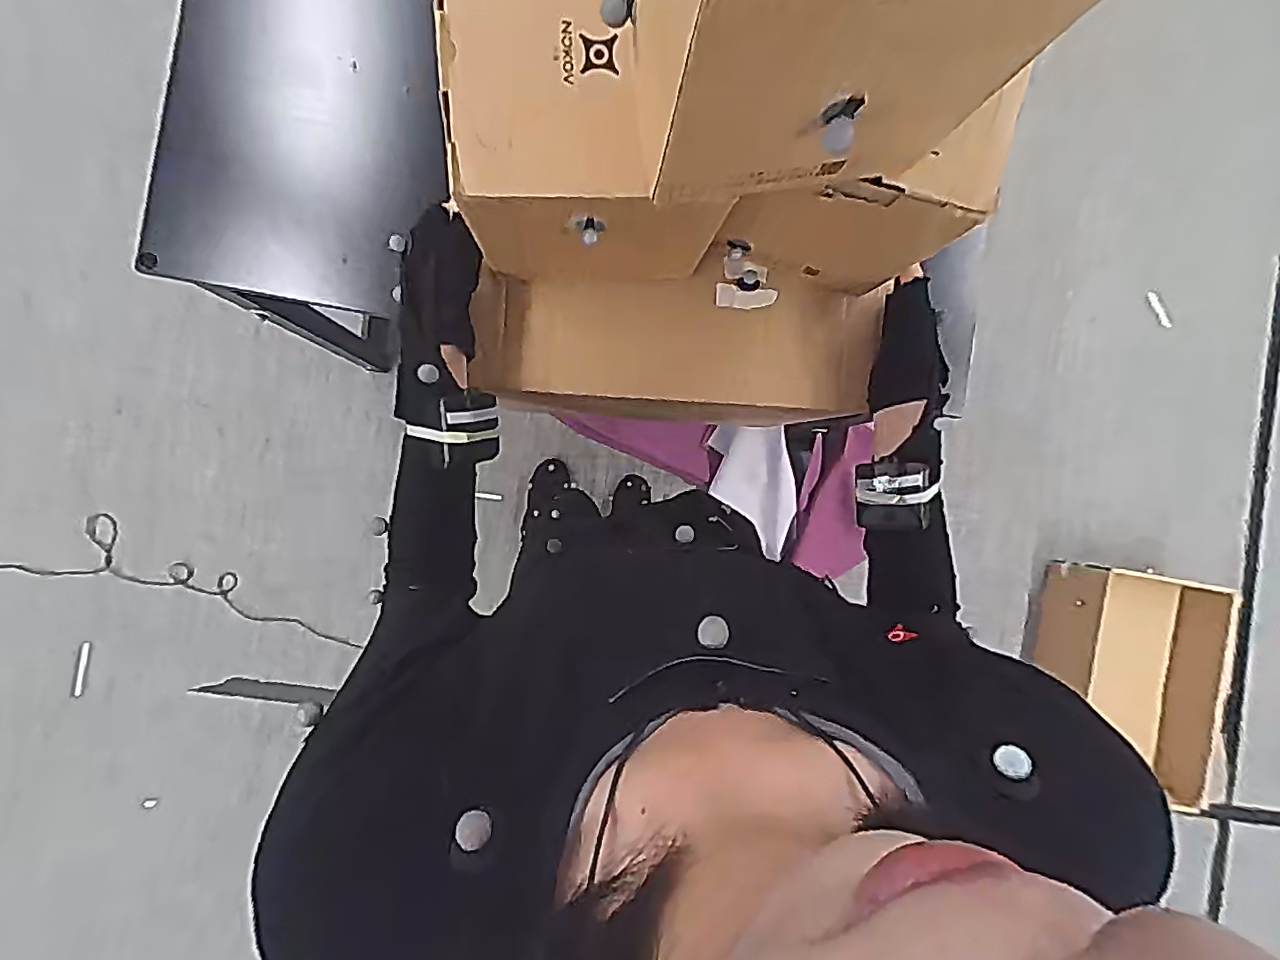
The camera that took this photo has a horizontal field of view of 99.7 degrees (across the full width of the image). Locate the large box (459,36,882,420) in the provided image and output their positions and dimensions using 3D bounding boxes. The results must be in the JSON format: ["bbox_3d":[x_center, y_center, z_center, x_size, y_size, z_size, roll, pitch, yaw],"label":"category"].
[{"bbox_3d":[0.021,-0.241,0.647,0.408,0.320,0.320,2,93,-6],"label":"large box"}]

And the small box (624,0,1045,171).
[{"bbox_3d":[0.081,-0.266,0.243,0.168,0.176,0.179,-10,94,-4],"label":"small box"}]

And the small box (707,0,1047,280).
[{"bbox_3d":[0.158,-0.277,0.412,0.168,0.176,0.179,14,90,-5],"label":"small box"}]
